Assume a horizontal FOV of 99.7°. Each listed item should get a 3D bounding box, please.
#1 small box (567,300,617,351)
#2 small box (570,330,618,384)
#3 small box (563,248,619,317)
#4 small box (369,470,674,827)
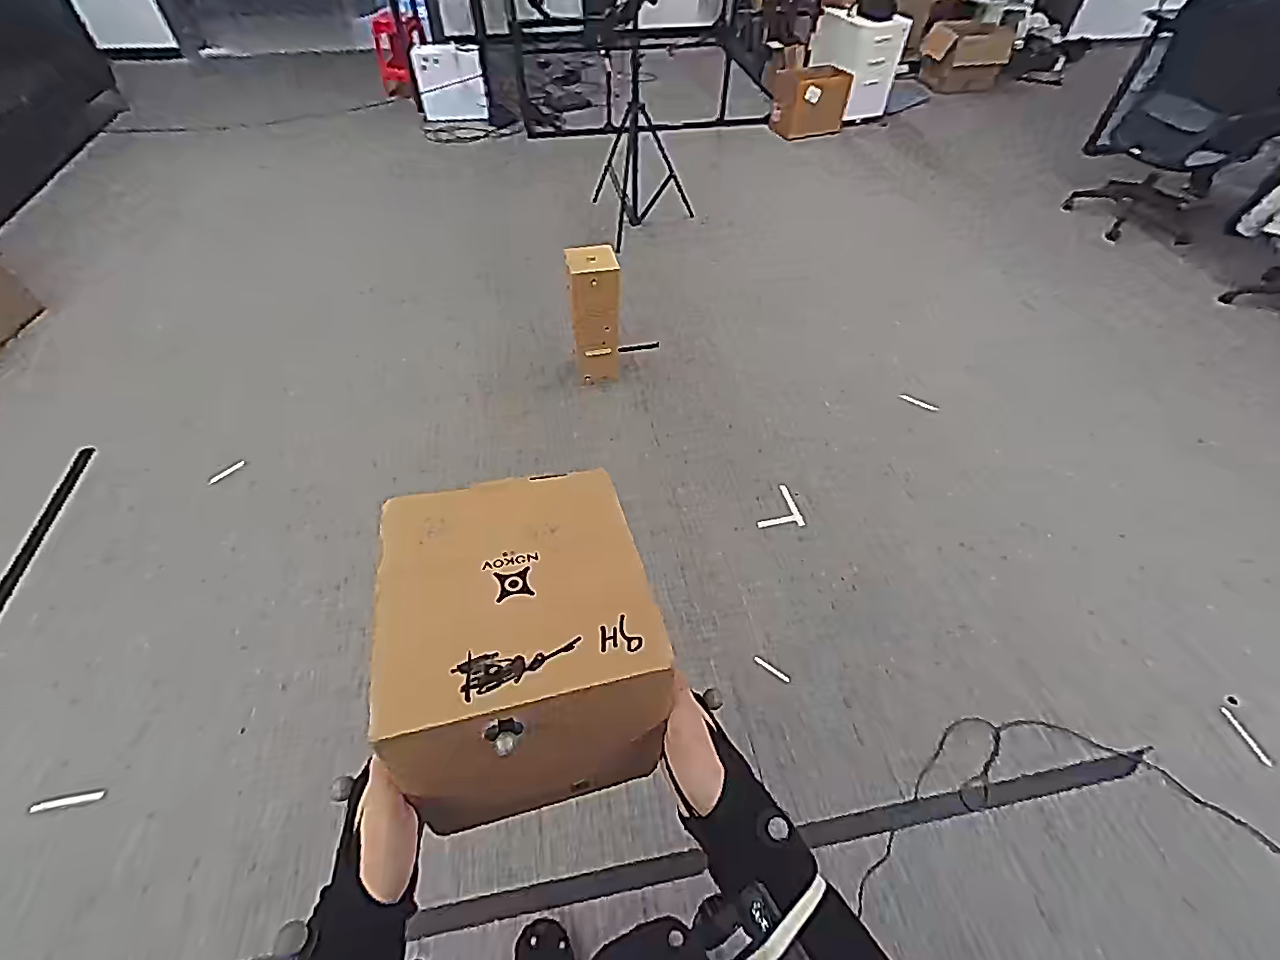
[{"bbox_3d":[-0.184,-0.614,2.096,0.168,0.176,0.179,-10,51,-10],"label":"small box"},{"bbox_3d":[-0.187,-0.512,2.222,0.168,0.176,0.179,-10,52,-9],"label":"small box"},{"bbox_3d":[-0.178,-0.717,1.970,0.179,0.176,0.168,-11,53,-10],"label":"small box"},{"bbox_3d":[-0.084,0.118,0.402,0.168,0.176,0.179,-9,44,-13],"label":"small box"}]
